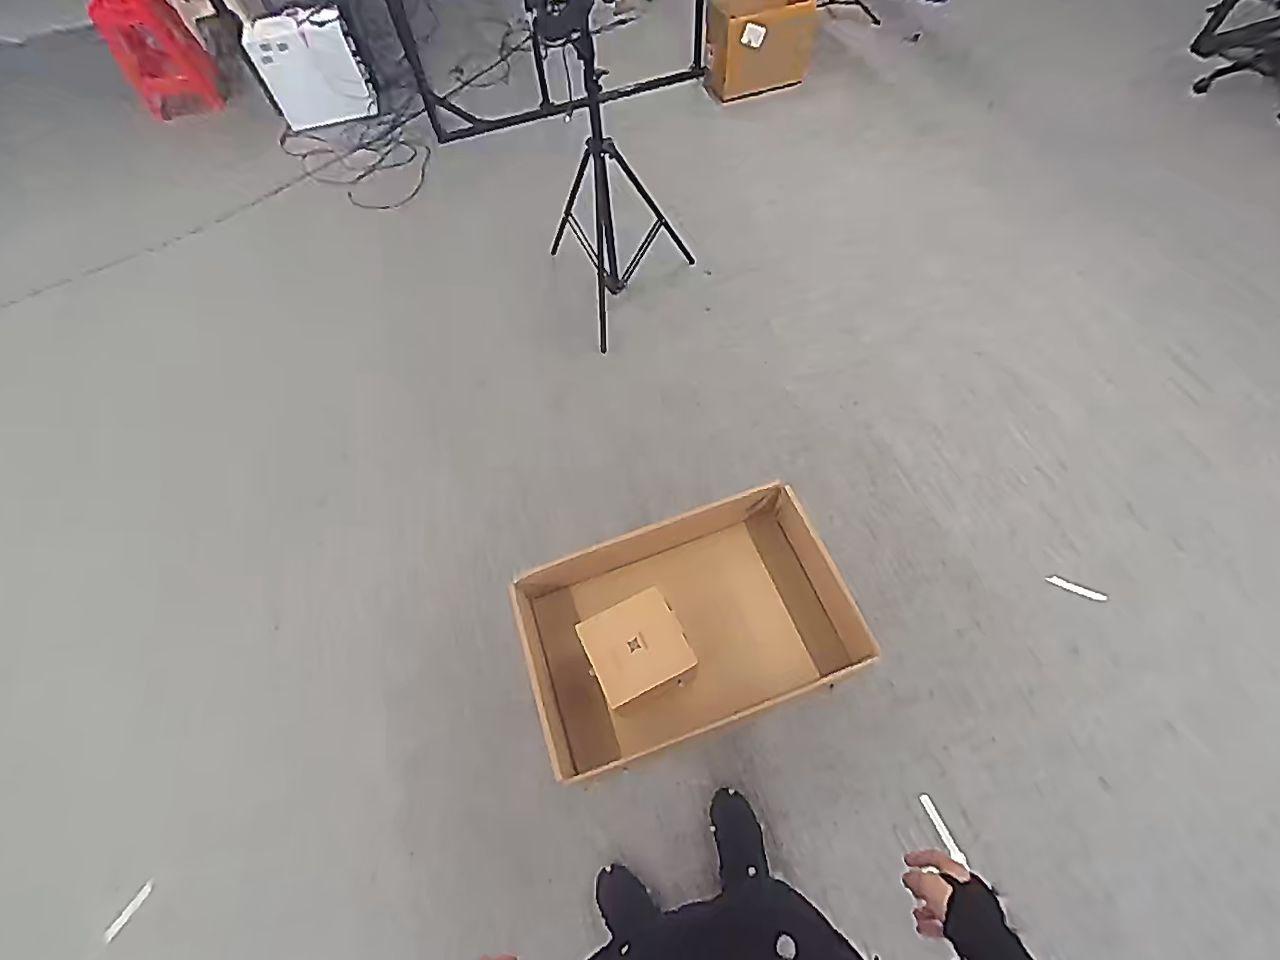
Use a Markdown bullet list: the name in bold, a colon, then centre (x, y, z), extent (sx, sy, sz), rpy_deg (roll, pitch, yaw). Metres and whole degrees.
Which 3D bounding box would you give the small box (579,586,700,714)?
- **small box**: centre (0.000, 0.334, 1.051), extent (0.179, 0.176, 0.168), rpy_deg (-26, 63, -9)
